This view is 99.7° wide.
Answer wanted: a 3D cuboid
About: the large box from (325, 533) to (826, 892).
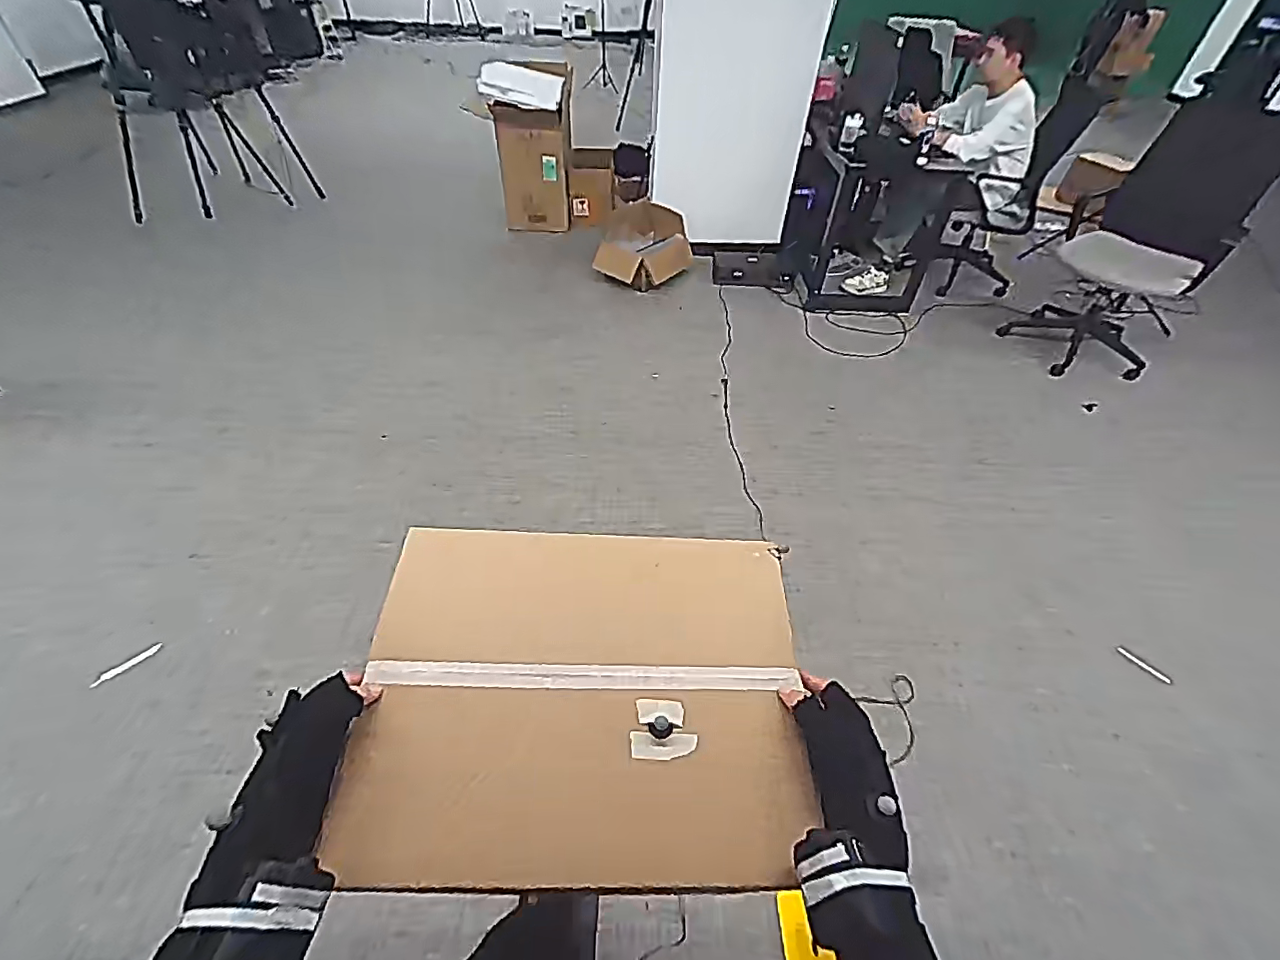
[{"bbox_3d":[-0.060,0.279,0.630,0.408,0.320,0.320,3,52,-4],"label":"large box"}]
